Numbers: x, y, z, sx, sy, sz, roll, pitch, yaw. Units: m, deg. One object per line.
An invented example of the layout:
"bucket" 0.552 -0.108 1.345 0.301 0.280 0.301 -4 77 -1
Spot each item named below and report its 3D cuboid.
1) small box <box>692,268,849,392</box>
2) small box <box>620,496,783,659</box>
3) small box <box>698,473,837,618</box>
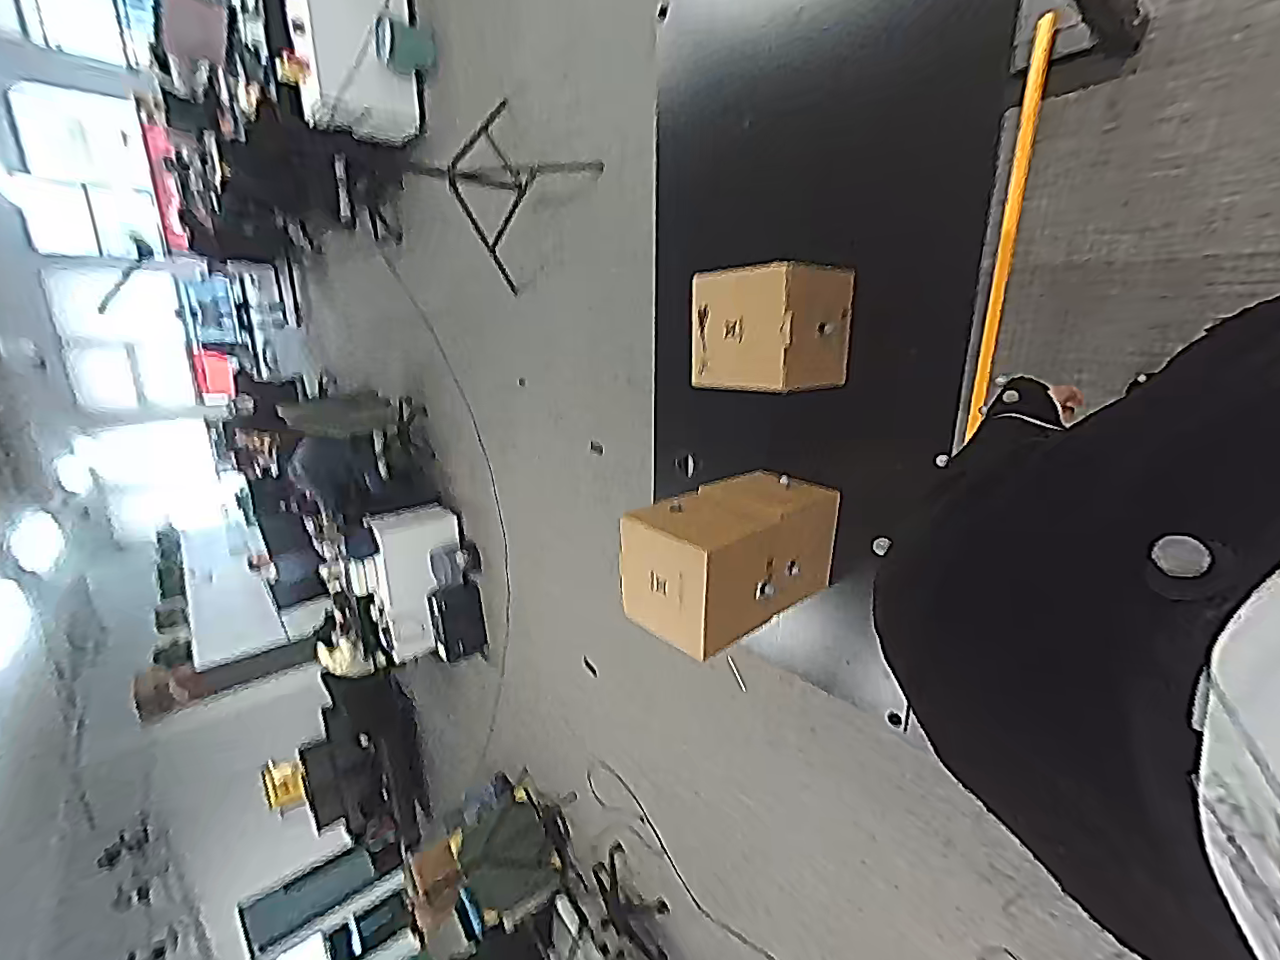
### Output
"small box" 0.200 -0.230 0.834 0.179 0.176 0.168 15 112 47
"small box" 0.089 0.130 0.808 0.179 0.176 0.168 17 114 46
"small box" 0.210 0.099 0.911 0.168 0.176 0.179 19 113 46
